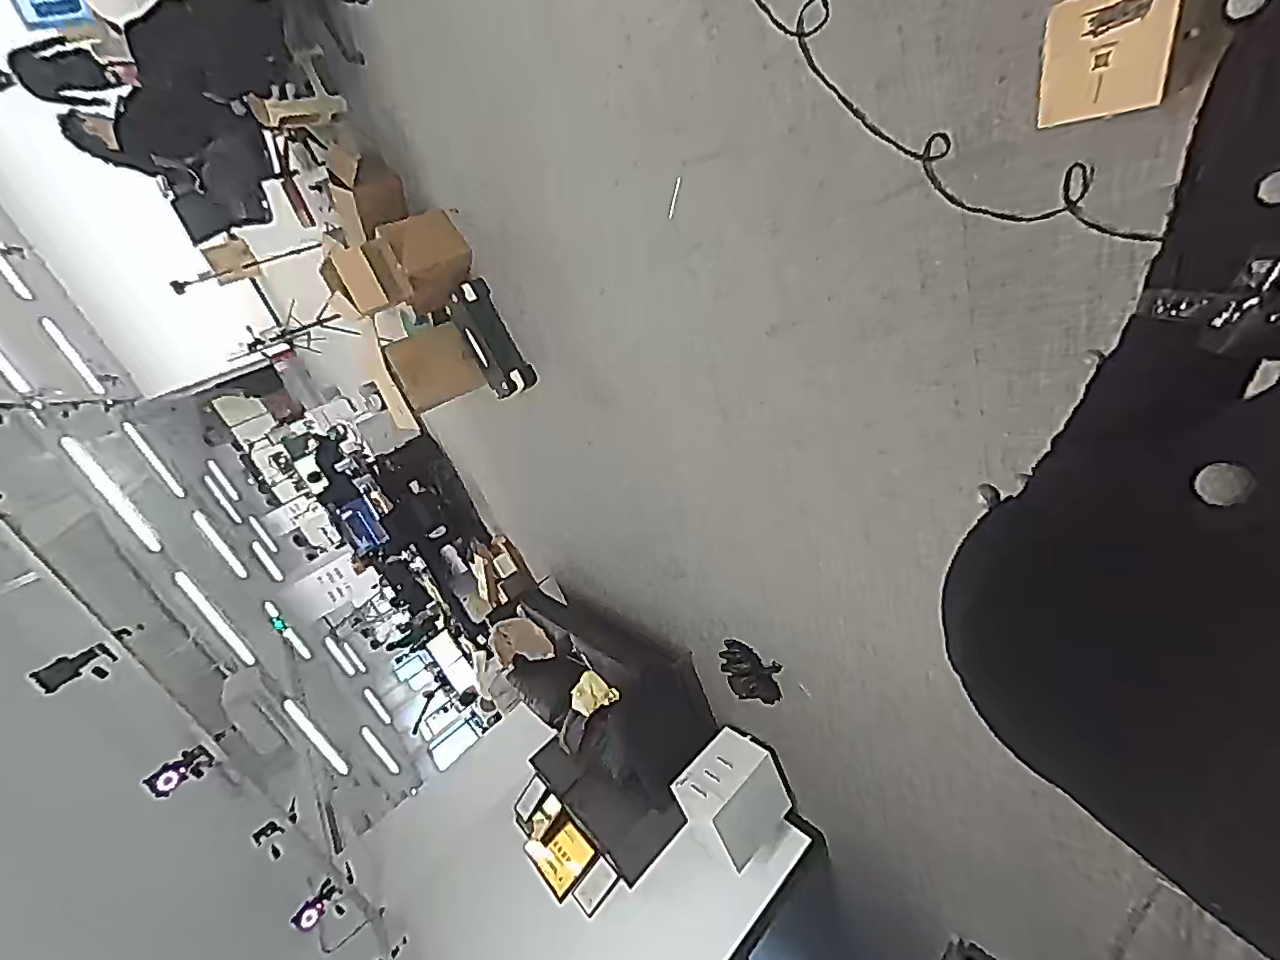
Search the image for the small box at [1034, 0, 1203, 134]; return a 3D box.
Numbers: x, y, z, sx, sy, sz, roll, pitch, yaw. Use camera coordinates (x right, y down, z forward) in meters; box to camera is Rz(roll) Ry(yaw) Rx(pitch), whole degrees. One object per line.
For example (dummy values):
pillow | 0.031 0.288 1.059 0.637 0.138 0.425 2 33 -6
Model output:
small box | 0.783 -0.698 0.887 0.168 0.176 0.179 21 137 47
